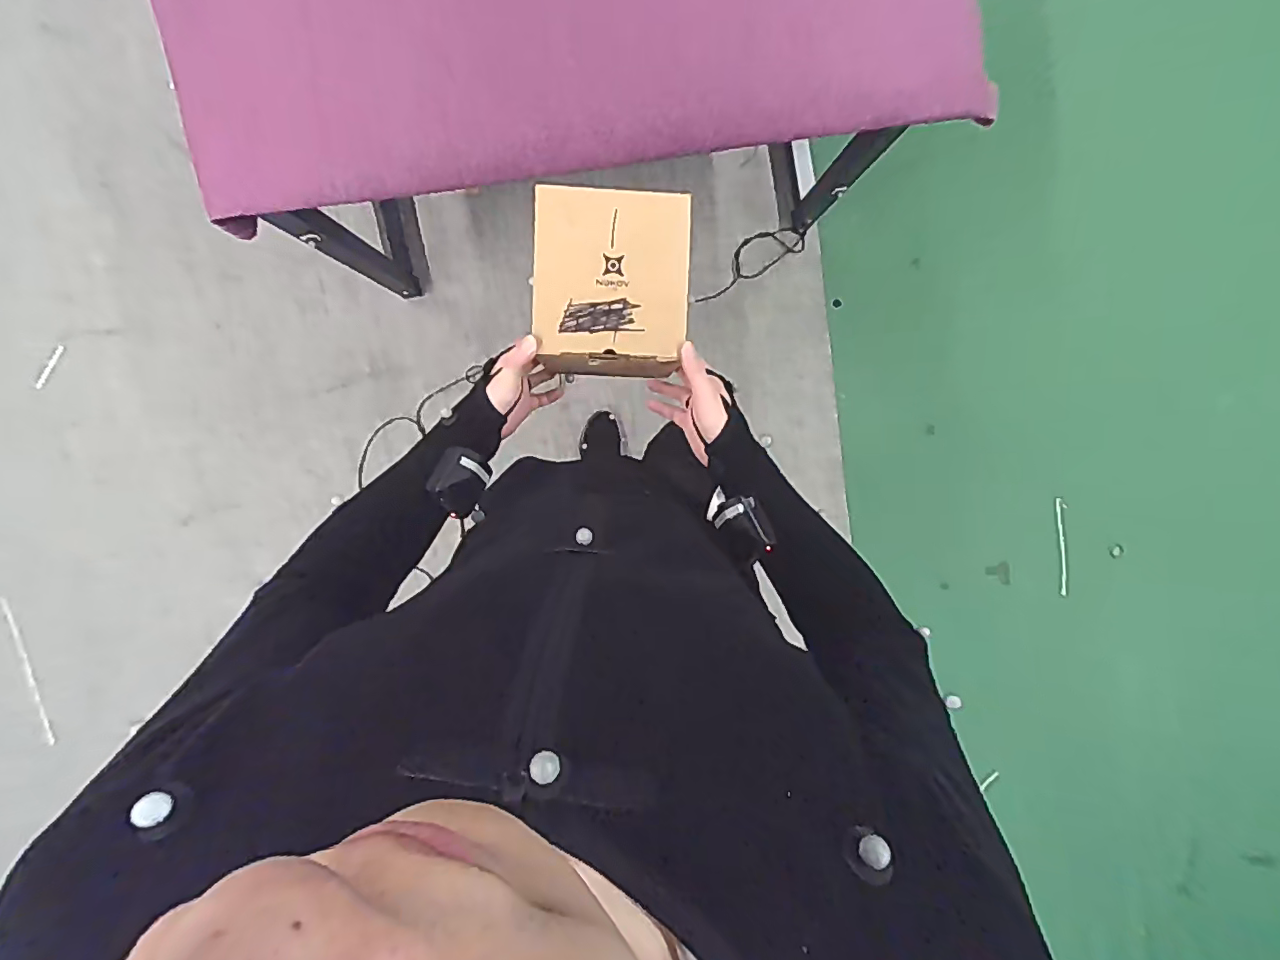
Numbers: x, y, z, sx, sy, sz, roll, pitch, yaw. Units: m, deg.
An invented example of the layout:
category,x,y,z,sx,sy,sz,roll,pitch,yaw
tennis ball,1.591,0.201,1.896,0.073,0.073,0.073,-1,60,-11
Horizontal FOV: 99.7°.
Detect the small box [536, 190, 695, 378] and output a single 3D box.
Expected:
category,x,y,z,sx,sy,sz,roll,pitch,yaw
small box,-0.031,-0.220,0.656,0.168,0.176,0.179,1,94,-5
